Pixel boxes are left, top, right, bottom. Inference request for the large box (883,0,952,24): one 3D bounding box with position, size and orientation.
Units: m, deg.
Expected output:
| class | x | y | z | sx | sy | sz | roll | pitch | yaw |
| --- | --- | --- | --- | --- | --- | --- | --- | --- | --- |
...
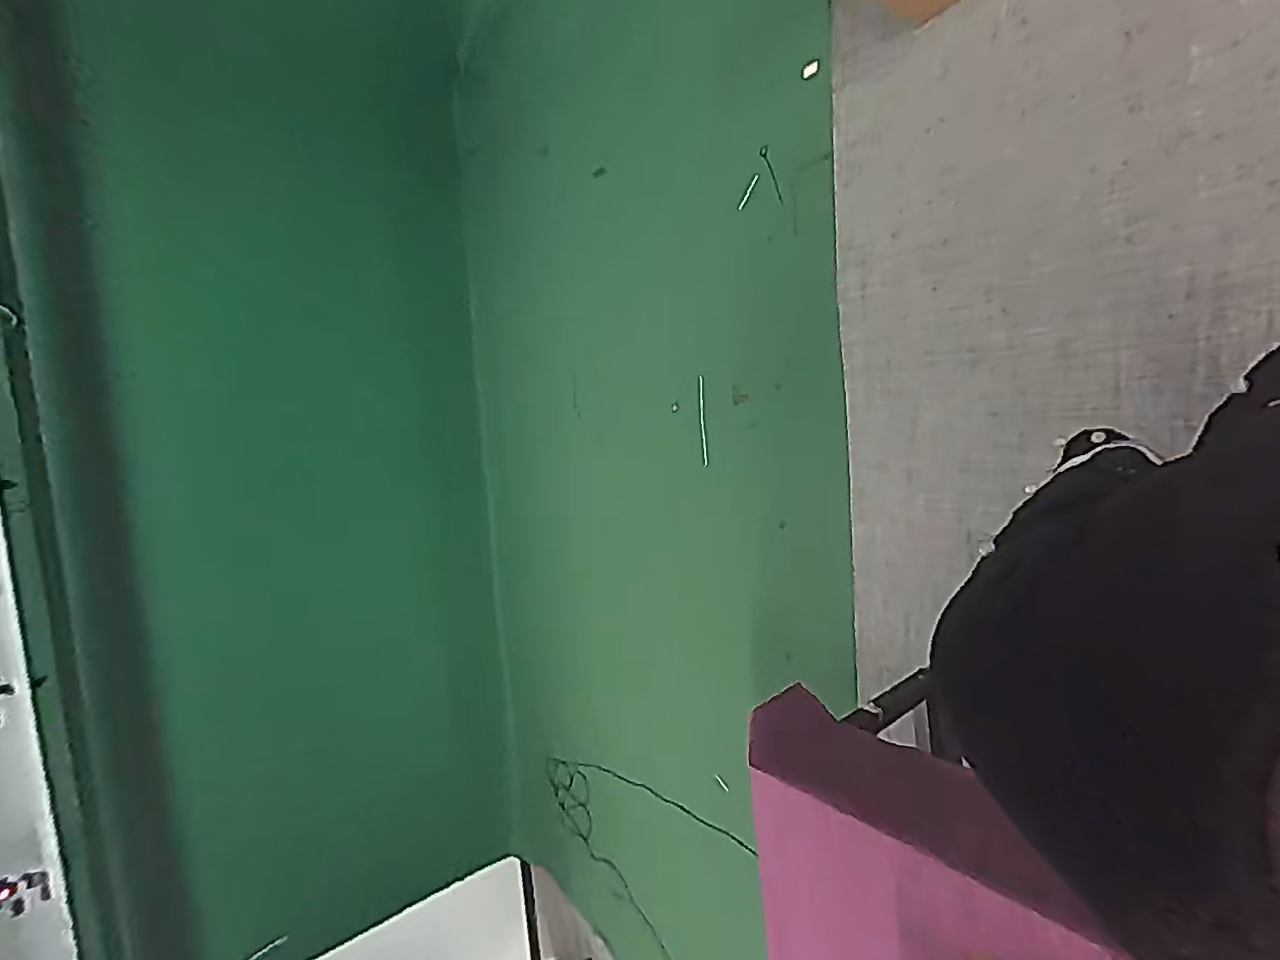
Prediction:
| class | x | y | z | sx | sy | sz | roll | pitch | yaw |
| --- | --- | --- | --- | --- | --- | --- | --- | --- | --- |
| large box | 0.670 | -1.374 | 1.202 | 0.320 | 0.320 | 0.408 | 0 | 95 | 55 |
